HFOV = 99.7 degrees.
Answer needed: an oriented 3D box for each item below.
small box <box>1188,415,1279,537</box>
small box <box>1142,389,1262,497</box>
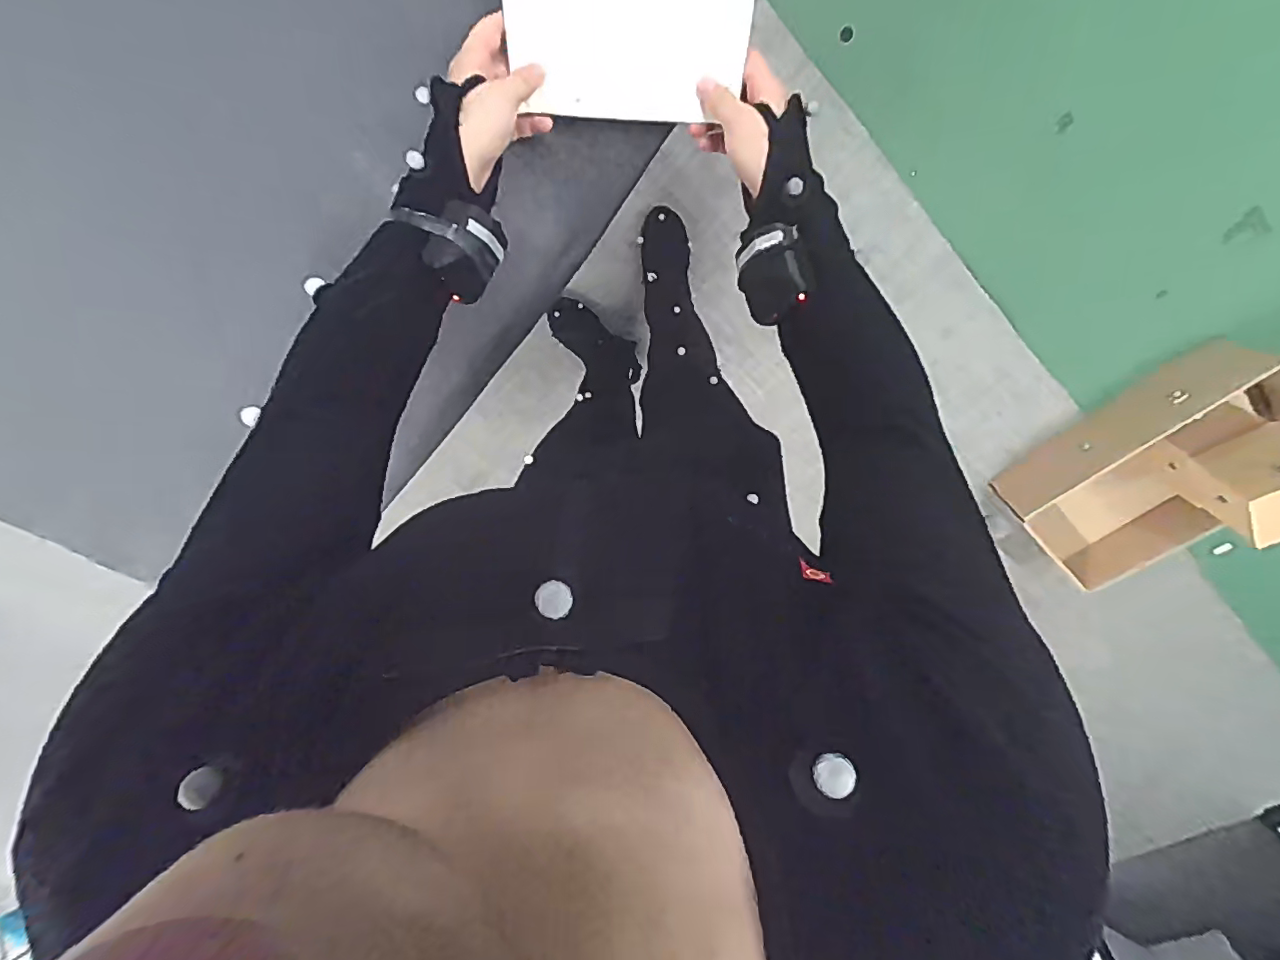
[{"bbox_3d":[1.388,-0.012,1.210,0.179,0.176,0.168,-32,119,21],"label":"small box"},{"bbox_3d":[1.409,-0.095,1.349,0.168,0.176,0.179,-27,120,19],"label":"small box"}]
